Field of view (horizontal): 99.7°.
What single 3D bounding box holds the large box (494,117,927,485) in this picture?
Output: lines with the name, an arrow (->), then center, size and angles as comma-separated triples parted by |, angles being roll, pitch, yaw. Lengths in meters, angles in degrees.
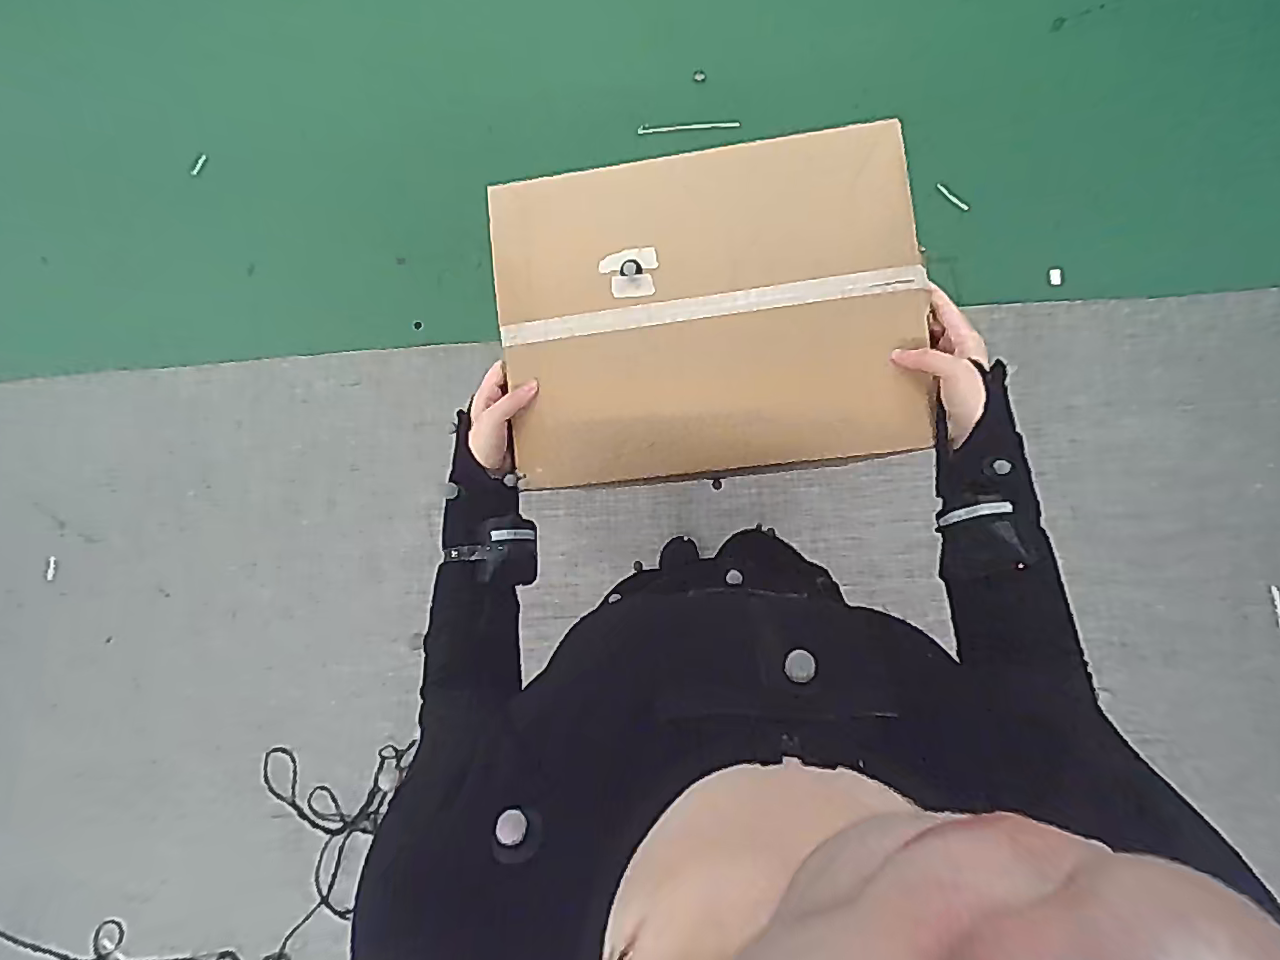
large box -> 0.080, -0.171, 0.684 | 0.408, 0.320, 0.320 | -6, 88, 8
